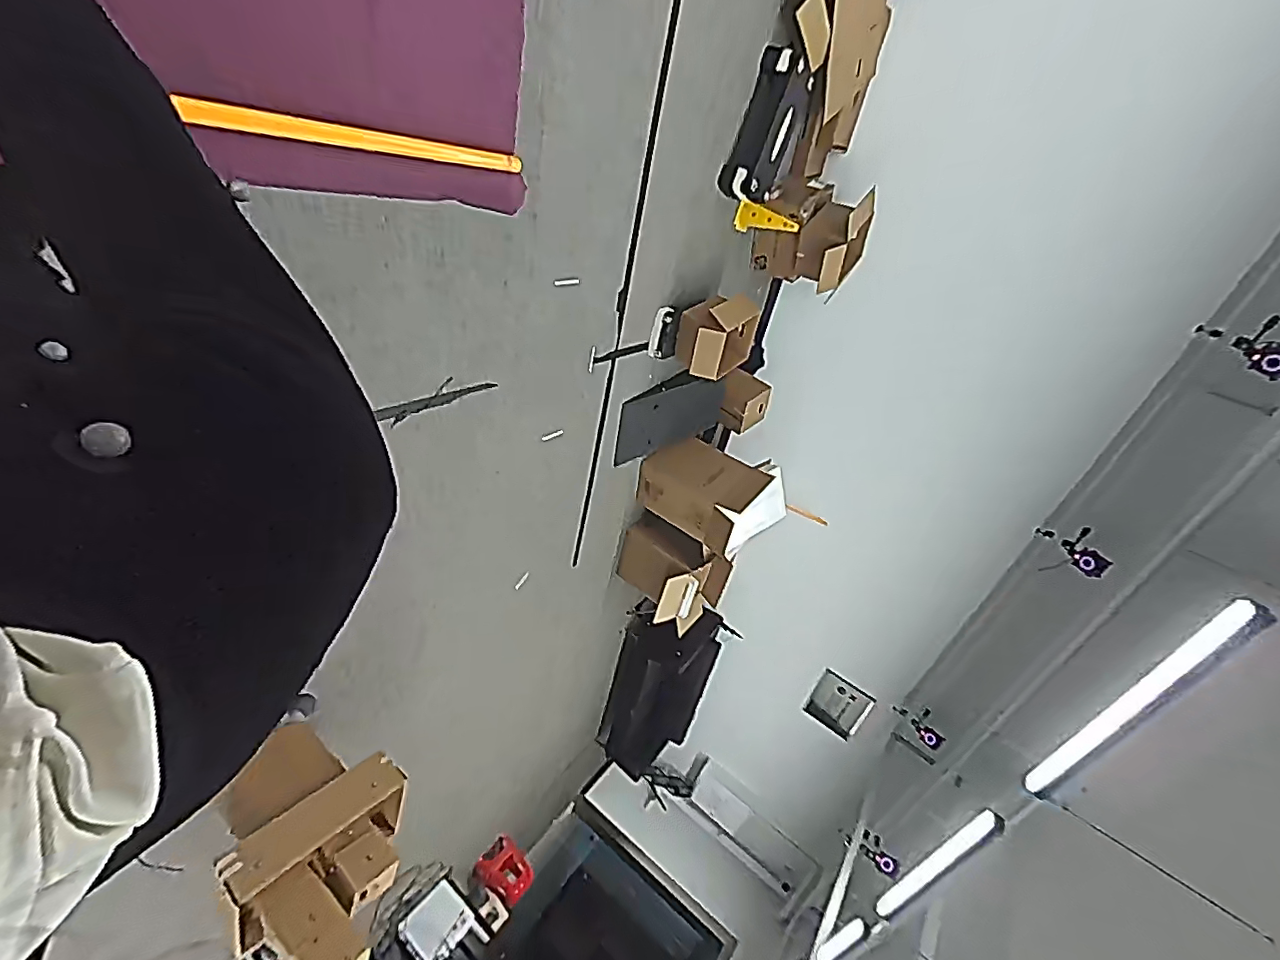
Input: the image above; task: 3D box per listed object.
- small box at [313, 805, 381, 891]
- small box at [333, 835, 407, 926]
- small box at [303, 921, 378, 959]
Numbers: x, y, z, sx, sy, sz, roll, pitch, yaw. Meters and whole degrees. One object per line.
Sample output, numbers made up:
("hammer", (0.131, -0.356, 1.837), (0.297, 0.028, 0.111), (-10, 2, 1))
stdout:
("small box", (-1.145, 1.427, 2.107), (0.179, 0.176, 0.168), (-18, 134, -53))
("small box", (-1.017, 1.493, 2.028), (0.179, 0.176, 0.168), (-11, 128, -58))
("small box", (-1.007, 1.631, 1.796), (0.168, 0.176, 0.179), (-20, 137, -57))
